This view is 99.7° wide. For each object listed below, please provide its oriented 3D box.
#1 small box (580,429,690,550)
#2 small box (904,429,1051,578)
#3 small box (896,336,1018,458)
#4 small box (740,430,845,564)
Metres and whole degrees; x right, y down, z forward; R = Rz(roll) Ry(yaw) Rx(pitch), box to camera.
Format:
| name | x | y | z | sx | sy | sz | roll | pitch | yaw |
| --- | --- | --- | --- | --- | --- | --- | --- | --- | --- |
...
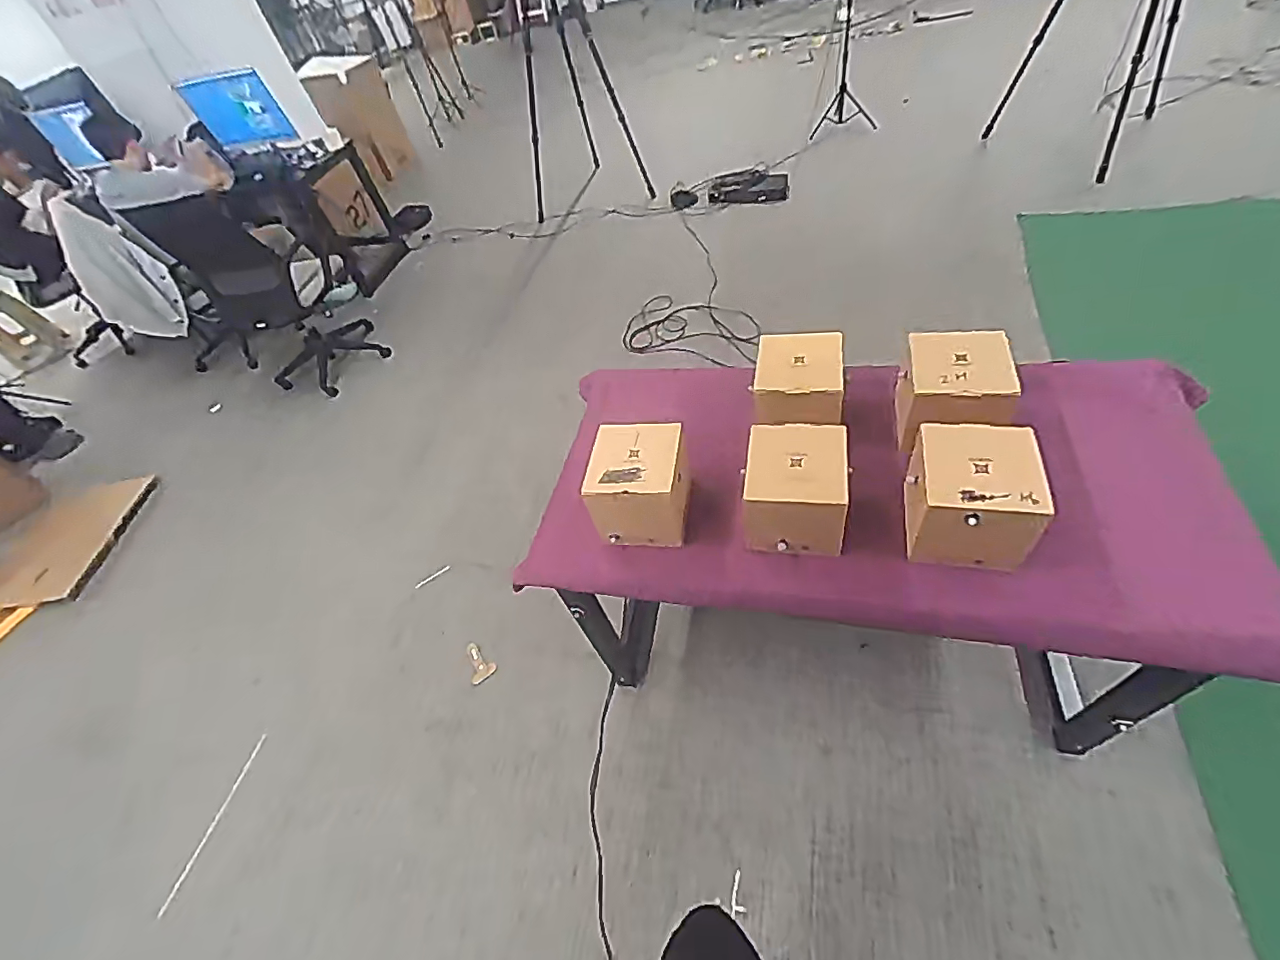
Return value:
| name | x | y | z | sx | sy | sz | roll | pitch | yaw |
| --- | --- | --- | --- | --- | --- | --- | --- | --- | --- |
| small box | 0.001 | 0.022 | 1.055 | 0.168 | 0.176 | 0.179 | 0 | 49 | 15 |
| small box | 0.542 | 0.038 | 0.897 | 0.168 | 0.176 | 0.179 | 3 | 51 | 19 |
| small box | 0.596 | -0.156 | 1.042 | 0.168 | 0.176 | 0.179 | 3 | 53 | 18 |
| small box | 0.277 | 0.029 | 0.979 | 0.168 | 0.176 | 0.179 | 2 | 52 | 18 |
